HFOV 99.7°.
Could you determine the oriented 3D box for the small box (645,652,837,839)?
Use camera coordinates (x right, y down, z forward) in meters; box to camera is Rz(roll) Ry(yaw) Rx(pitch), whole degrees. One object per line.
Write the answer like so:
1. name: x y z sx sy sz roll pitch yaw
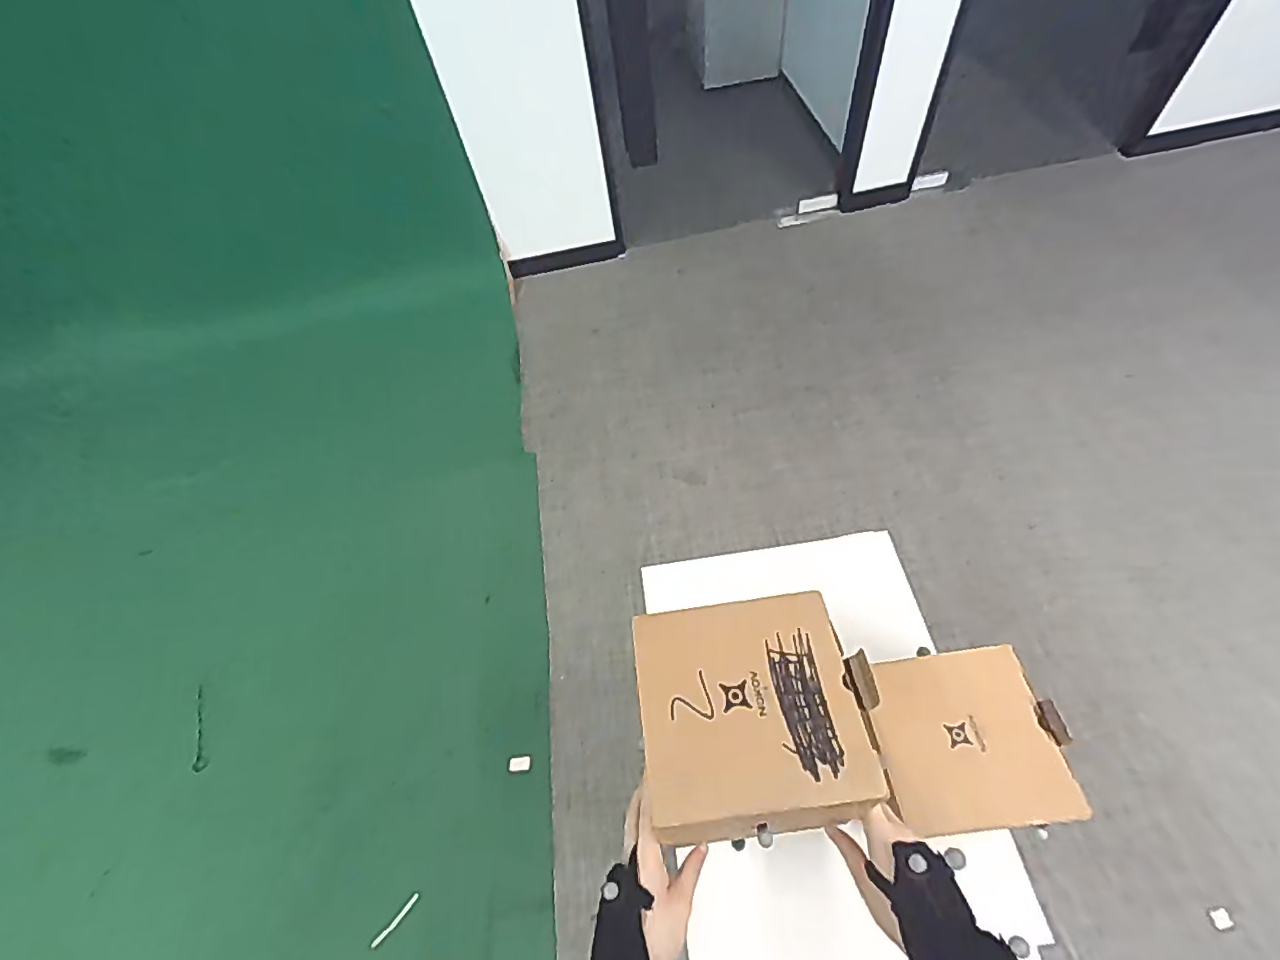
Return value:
1. small box: 0.109 0.319 0.640 0.179 0.176 0.168 -9 58 1
